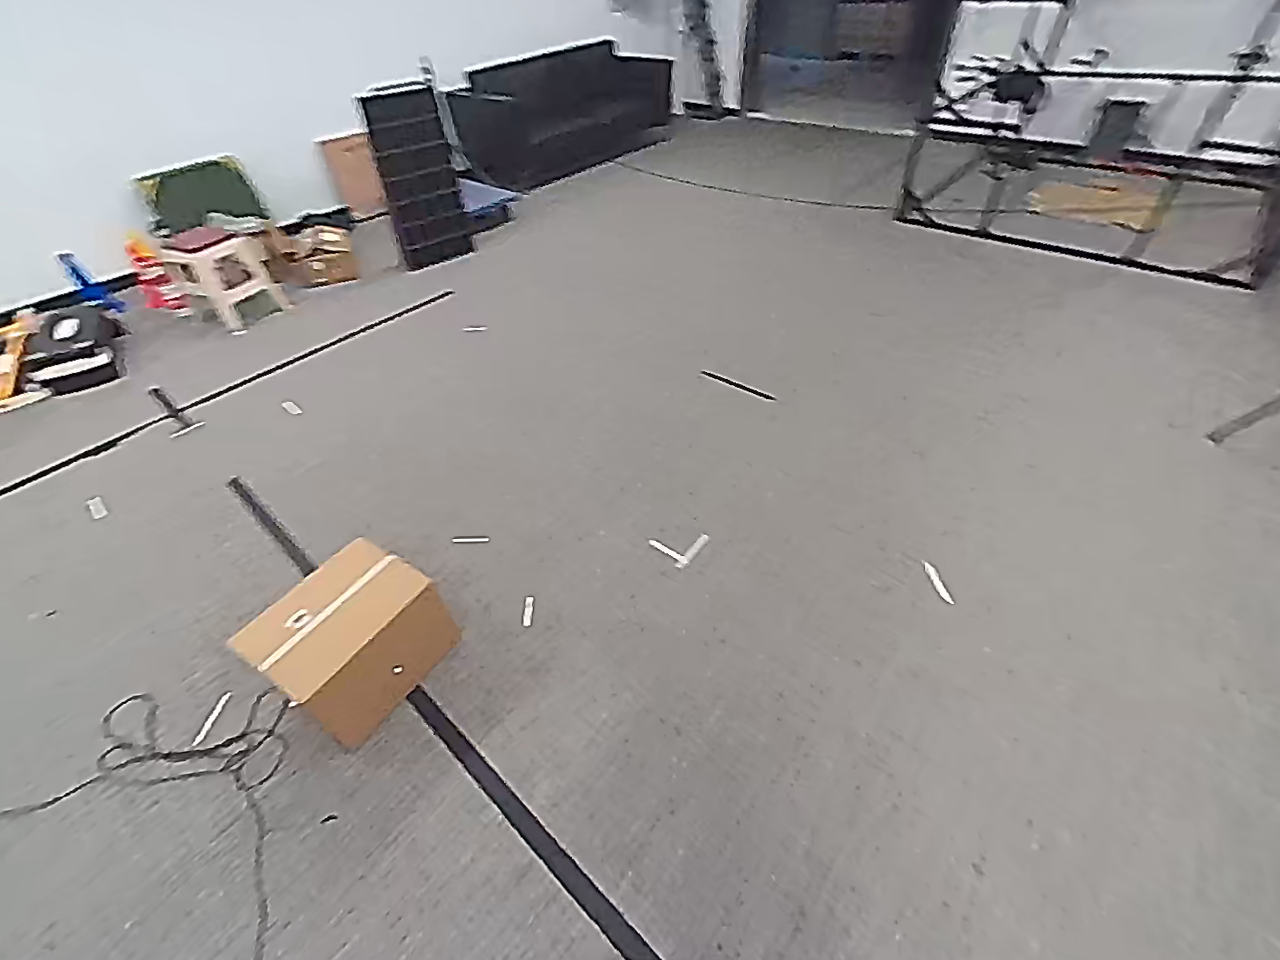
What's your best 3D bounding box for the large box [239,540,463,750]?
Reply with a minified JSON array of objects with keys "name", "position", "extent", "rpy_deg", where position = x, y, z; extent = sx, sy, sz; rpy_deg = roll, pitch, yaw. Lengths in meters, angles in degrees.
[{"name":"large box","position":[-0.779,0.454,1.525],"extent":[0.320,0.320,0.408],"rpy_deg":[22,50,24]}]
